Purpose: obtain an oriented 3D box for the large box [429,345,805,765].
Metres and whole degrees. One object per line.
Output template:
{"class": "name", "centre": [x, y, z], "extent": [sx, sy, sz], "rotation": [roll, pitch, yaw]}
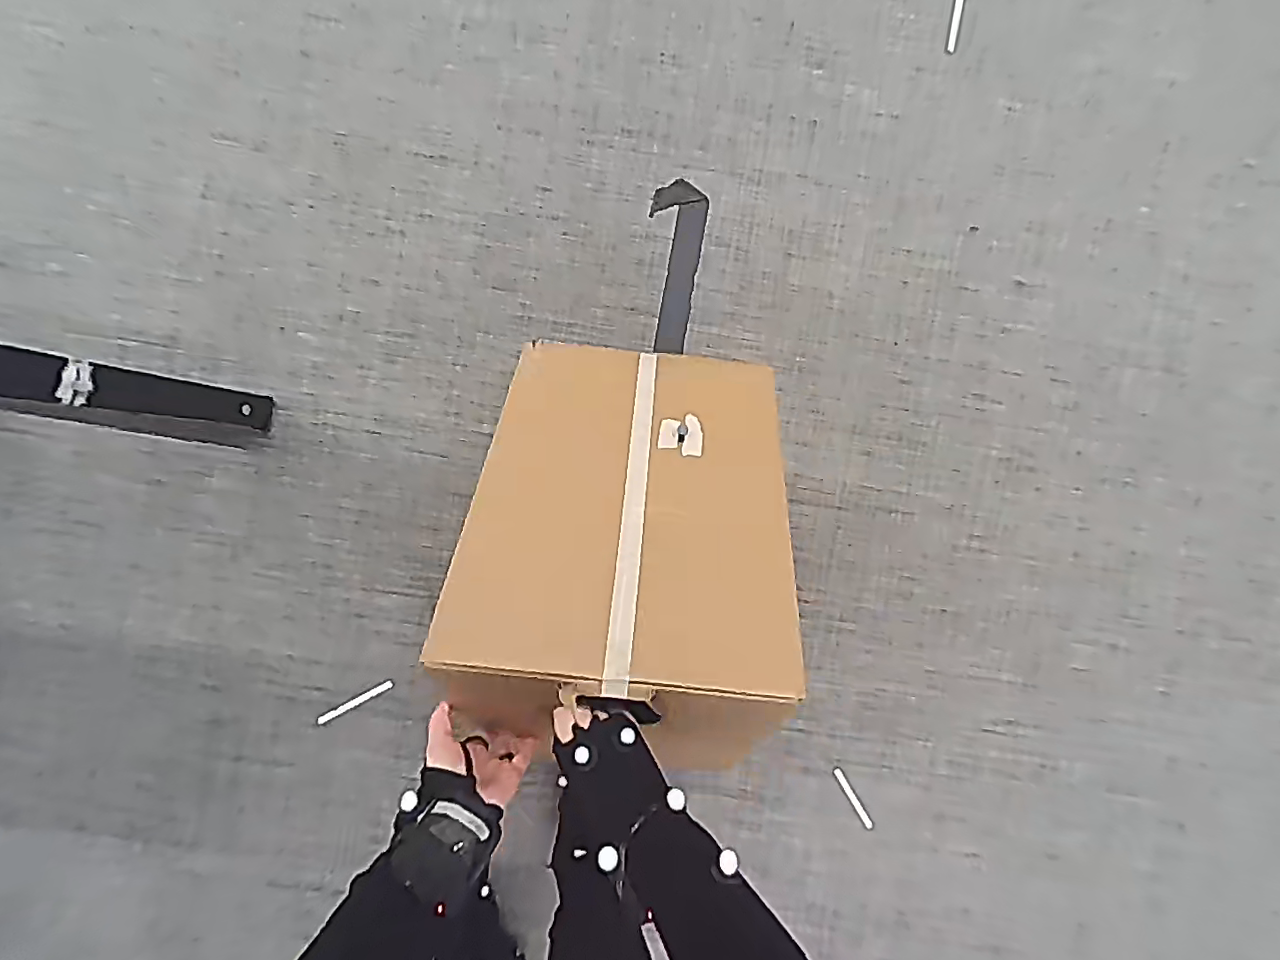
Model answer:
{"class": "large box", "centre": [-0.014, 0.093, 0.667], "extent": [0.320, 0.320, 0.408], "rotation": [7, 52, -1]}
